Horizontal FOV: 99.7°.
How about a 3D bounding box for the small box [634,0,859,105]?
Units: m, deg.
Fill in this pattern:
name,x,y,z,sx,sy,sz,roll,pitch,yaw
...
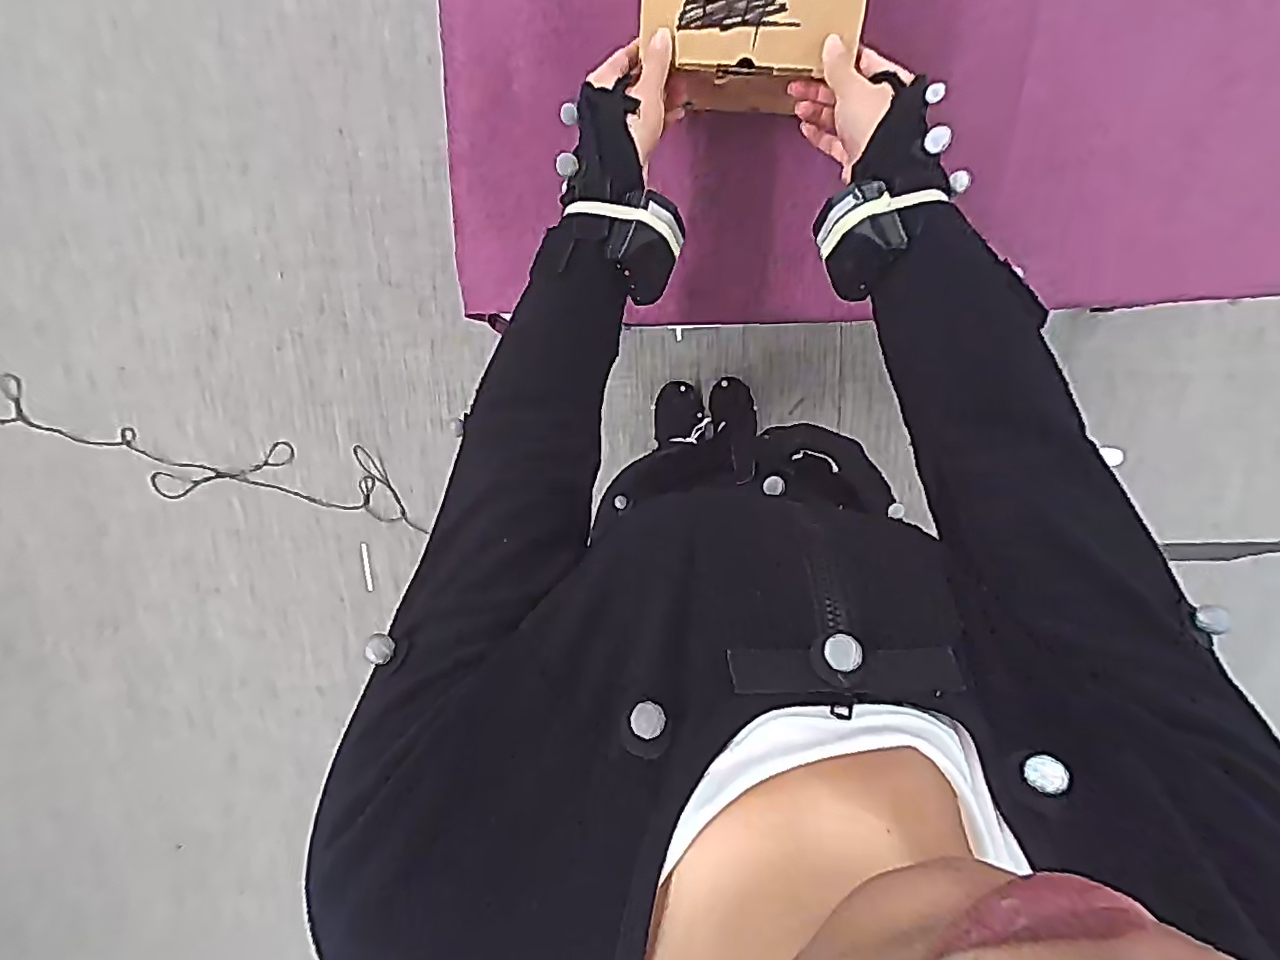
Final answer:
name,x,y,z,sx,sy,sz,roll,pitch,yaw
small box,0.089,-0.431,0.448,0.168,0.176,0.179,5,115,2
